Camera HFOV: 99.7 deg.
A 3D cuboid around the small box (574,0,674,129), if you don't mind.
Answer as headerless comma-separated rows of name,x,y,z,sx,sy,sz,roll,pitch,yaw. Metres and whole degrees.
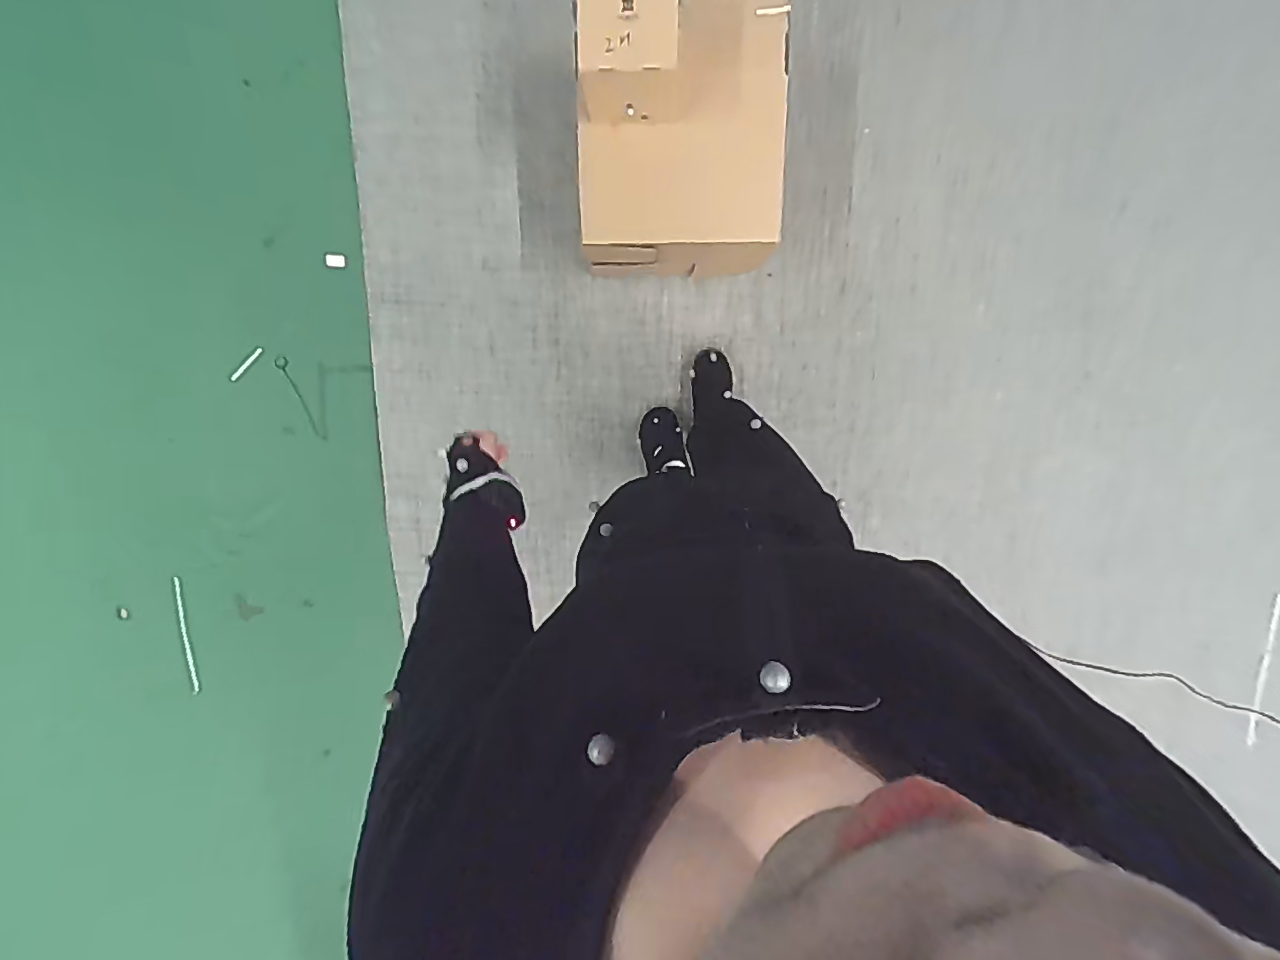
small box,-0.025,-0.760,0.961,0.168,0.176,0.179,0,97,2
